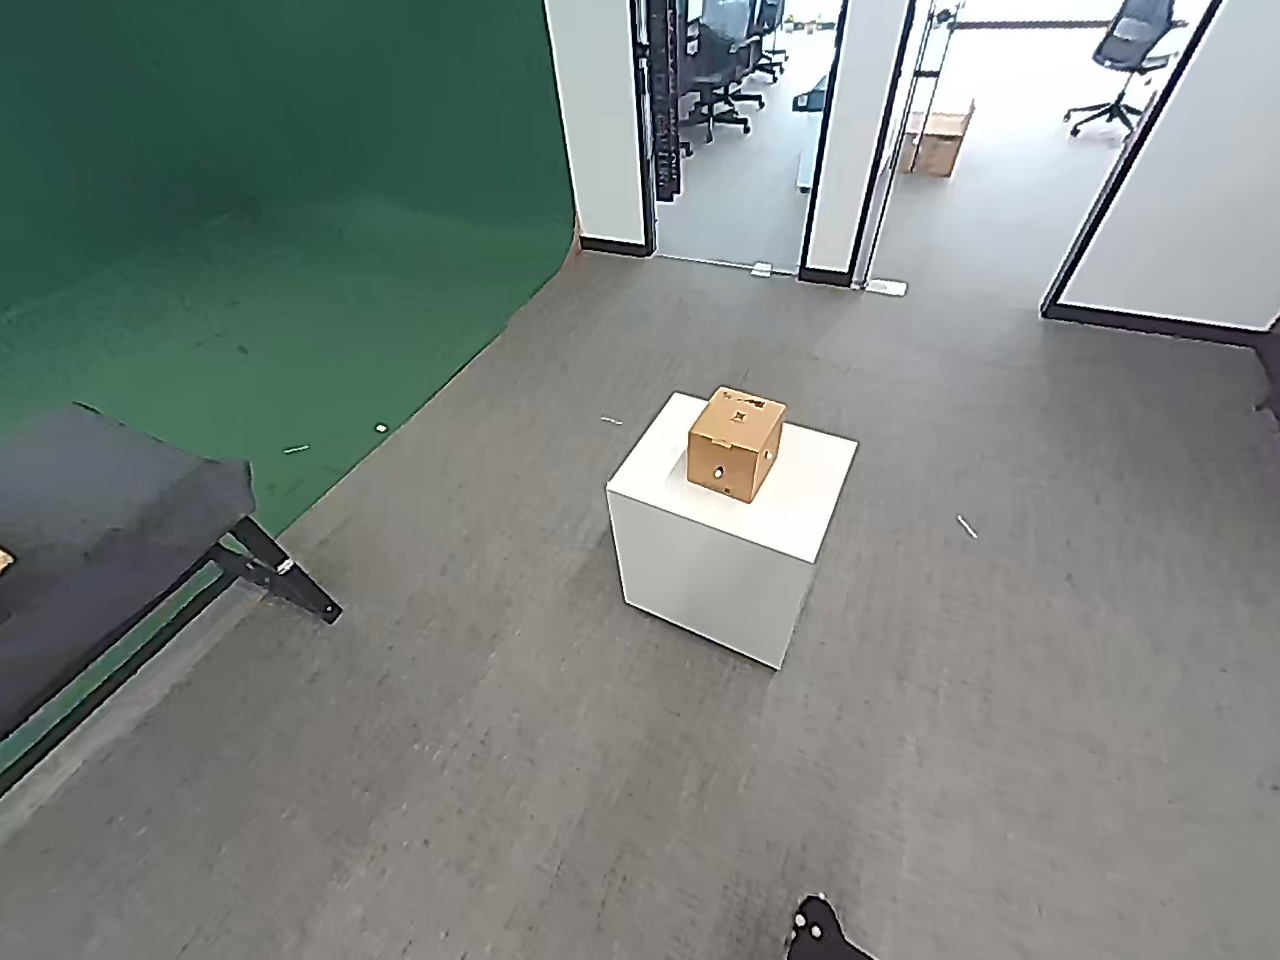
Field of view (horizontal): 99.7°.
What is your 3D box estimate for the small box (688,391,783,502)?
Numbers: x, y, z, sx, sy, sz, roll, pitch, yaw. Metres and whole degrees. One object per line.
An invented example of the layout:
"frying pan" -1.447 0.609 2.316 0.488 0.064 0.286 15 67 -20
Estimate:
"small box" 0.223 -0.076 1.269 0.168 0.176 0.179 19 51 21
